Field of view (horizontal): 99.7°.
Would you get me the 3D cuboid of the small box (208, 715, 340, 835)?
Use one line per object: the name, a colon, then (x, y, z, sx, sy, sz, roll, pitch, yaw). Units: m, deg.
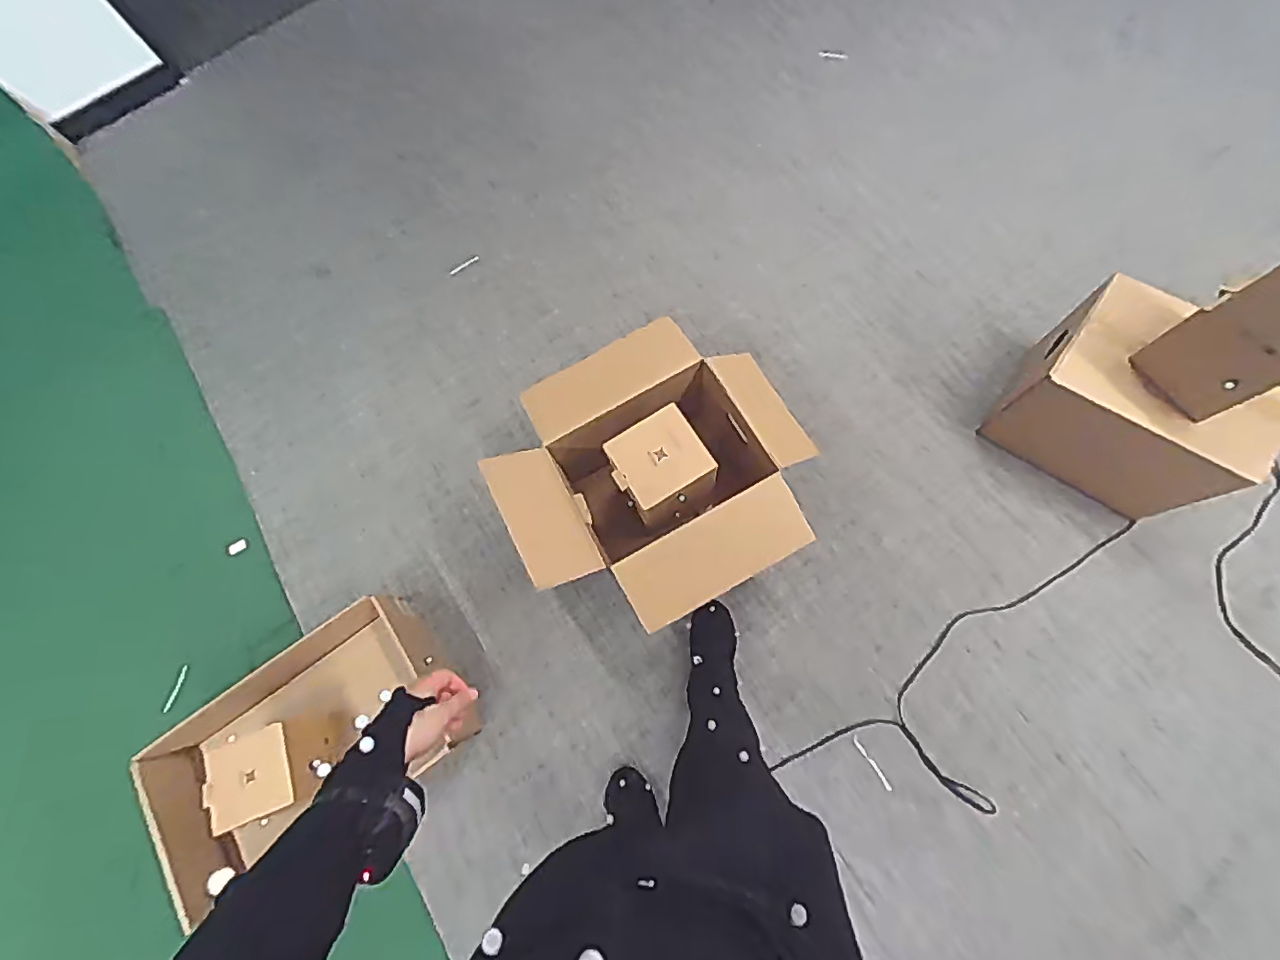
small box: (-0.794, 0.637, 1.193, 0.179, 0.176, 0.168, -23, 71, -3)

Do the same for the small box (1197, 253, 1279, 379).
small box: (1.074, -0.295, 0.858, 0.179, 0.176, 0.168, -32, 72, -6)

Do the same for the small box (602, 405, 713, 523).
small box: (0.041, -0.026, 1.174, 0.179, 0.176, 0.168, -32, 74, -5)
